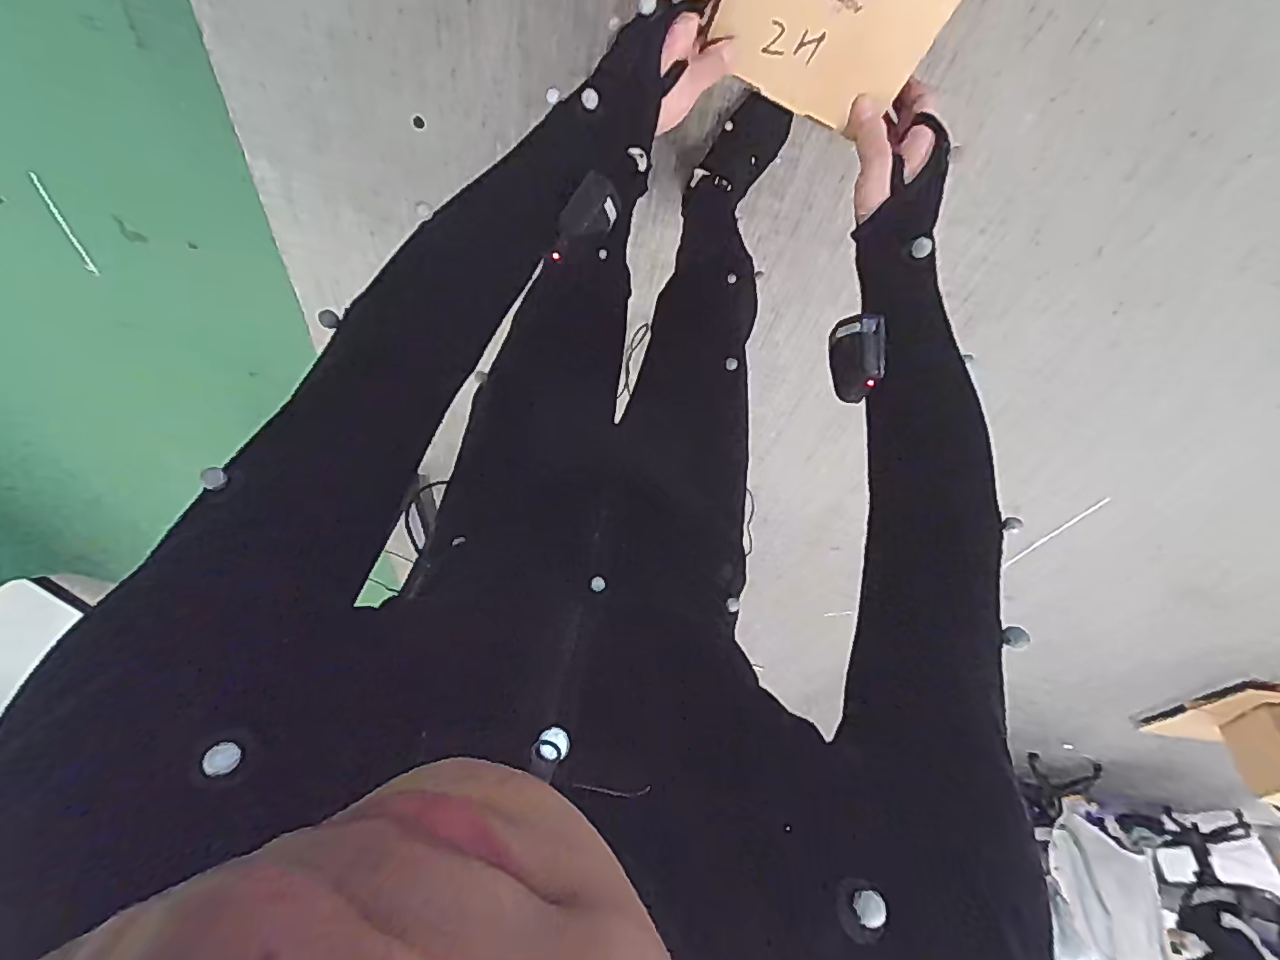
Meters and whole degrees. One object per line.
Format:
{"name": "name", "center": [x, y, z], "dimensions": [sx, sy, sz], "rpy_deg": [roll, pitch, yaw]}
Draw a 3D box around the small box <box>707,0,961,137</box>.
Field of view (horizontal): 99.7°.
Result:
{"name": "small box", "center": [0.165, -0.437, 0.444], "dimensions": [0.168, 0.176, 0.179], "rpy_deg": [19, 141, -13]}
